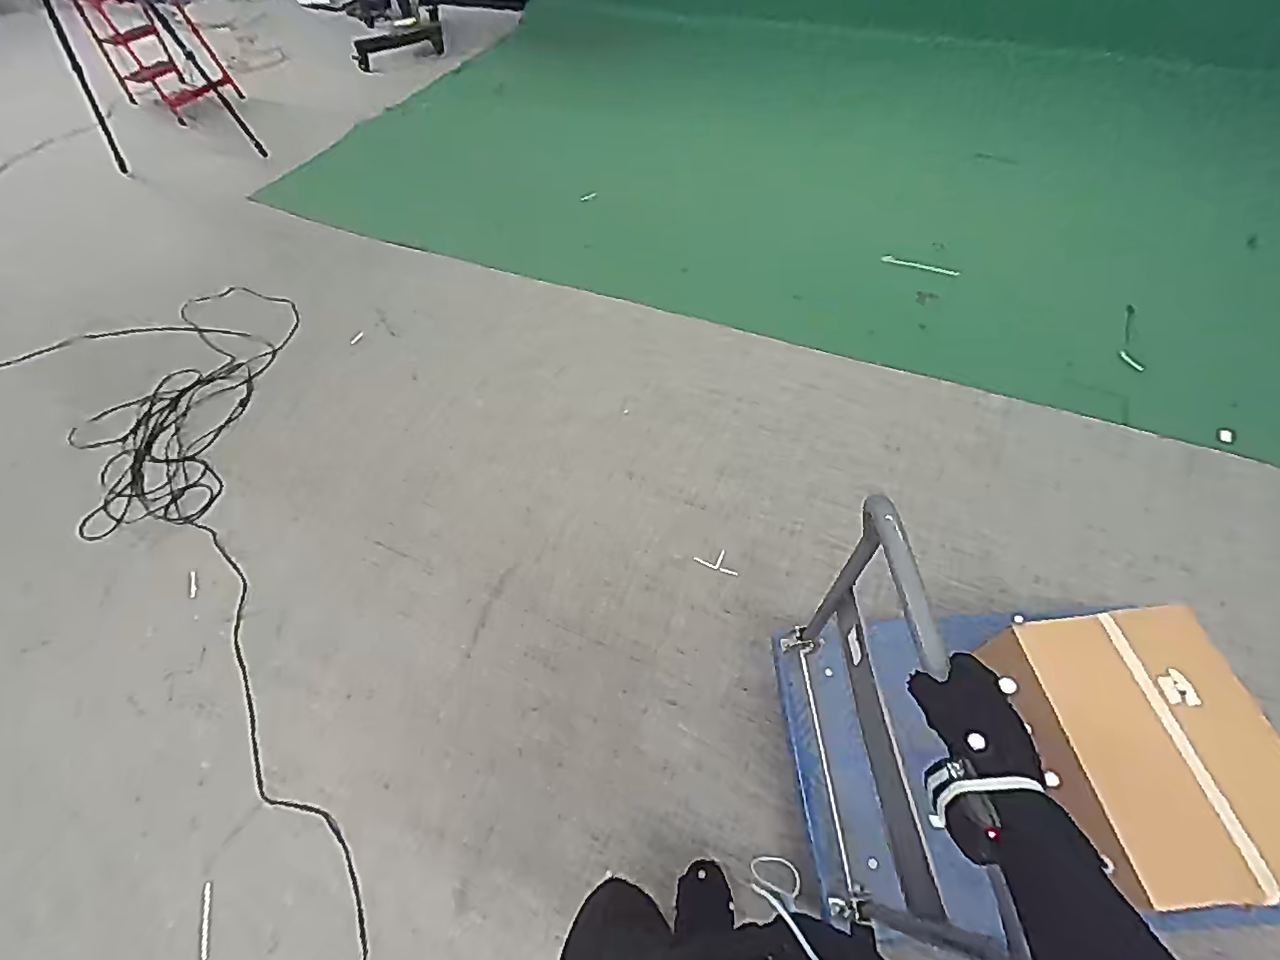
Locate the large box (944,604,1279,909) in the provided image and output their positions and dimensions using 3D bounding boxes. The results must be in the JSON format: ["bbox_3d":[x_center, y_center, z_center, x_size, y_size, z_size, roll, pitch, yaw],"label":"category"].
[{"bbox_3d":[0.827,0.484,0.962,0.320,0.320,0.408,-6,55,-1],"label":"large box"}]
